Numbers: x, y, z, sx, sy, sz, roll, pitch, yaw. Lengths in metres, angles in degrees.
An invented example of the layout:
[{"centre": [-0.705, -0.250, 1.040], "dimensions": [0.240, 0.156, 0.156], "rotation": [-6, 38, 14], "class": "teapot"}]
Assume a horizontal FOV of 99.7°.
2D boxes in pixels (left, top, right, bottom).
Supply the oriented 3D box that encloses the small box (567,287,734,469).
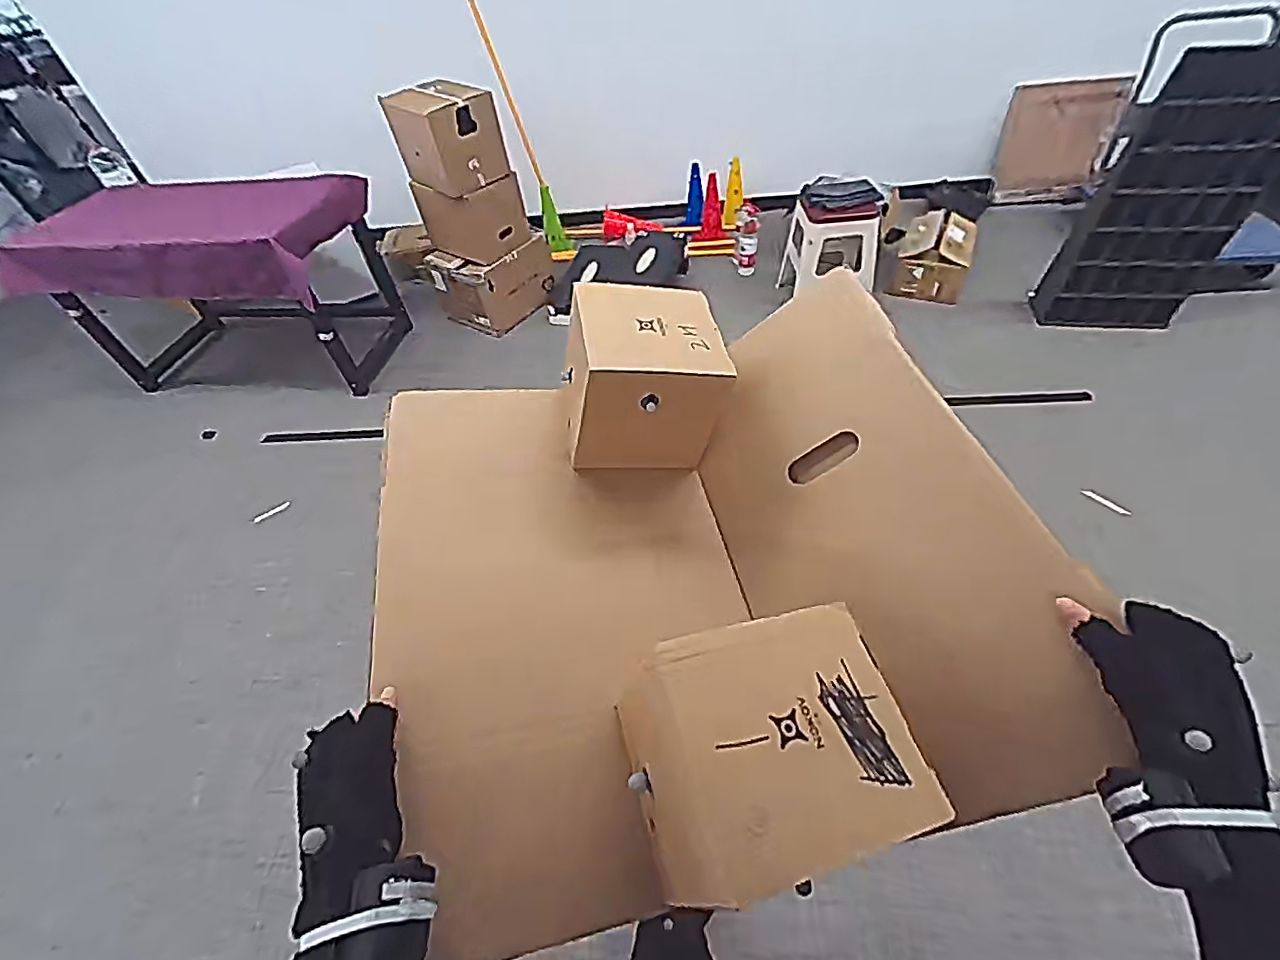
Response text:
[{"centre": [-0.001, -0.128, 0.711], "dimensions": [0.179, 0.176, 0.168], "rotation": [0, 52, -15], "class": "small box"}]
